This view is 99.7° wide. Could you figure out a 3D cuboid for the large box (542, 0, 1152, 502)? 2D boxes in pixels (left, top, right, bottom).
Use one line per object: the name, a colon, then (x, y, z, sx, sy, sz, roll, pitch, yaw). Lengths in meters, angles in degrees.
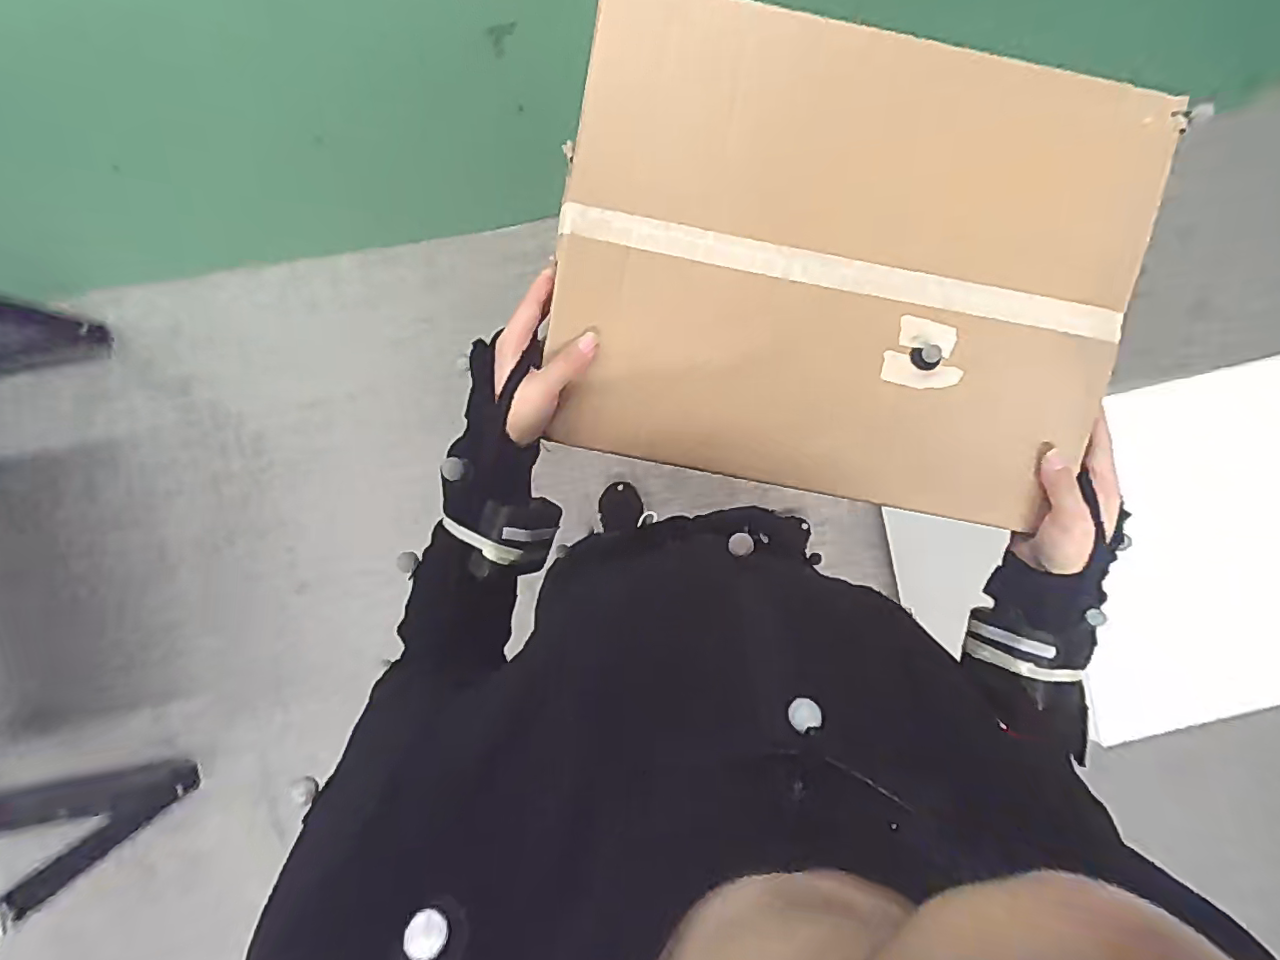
large box: (0.138, -0.180, 0.538, 0.408, 0.320, 0.320, 9, 99, -3)
